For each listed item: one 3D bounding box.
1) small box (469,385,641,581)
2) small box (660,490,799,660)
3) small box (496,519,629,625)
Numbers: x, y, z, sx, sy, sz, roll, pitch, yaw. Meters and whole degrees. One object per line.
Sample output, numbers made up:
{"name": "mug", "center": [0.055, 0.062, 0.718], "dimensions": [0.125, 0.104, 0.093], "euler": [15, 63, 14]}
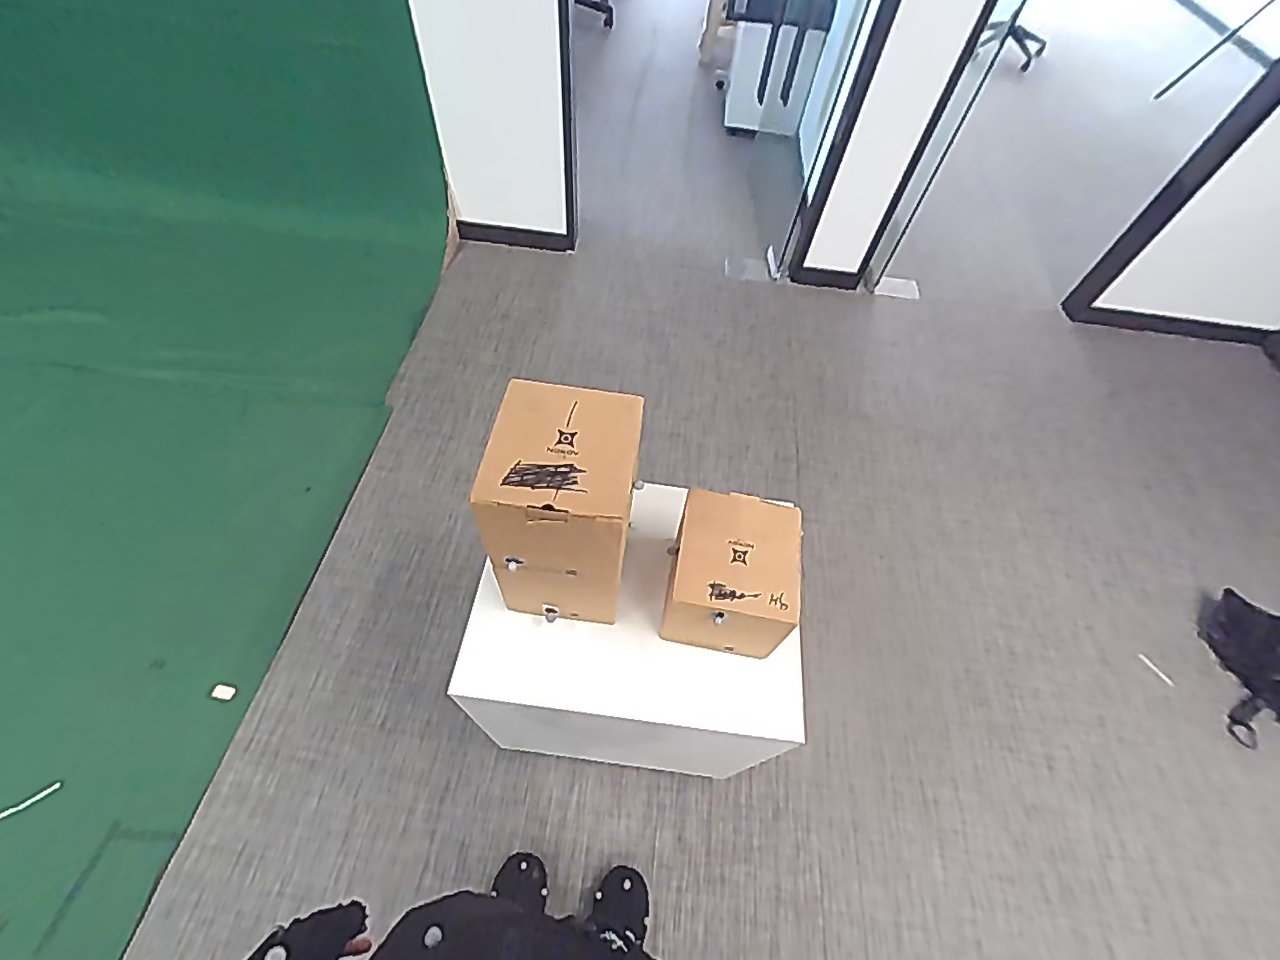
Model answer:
{"name": "small box", "center": [-0.094, 0.010, 0.677], "dimensions": [0.168, 0.176, 0.179], "euler": [8, 55, 1]}
{"name": "small box", "center": [0.127, 0.144, 0.802], "dimensions": [0.168, 0.176, 0.179], "euler": [11, 56, 3]}
{"name": "small box", "center": [-0.105, 0.101, 0.813], "dimensions": [0.168, 0.176, 0.179], "euler": [6, 58, 0]}
